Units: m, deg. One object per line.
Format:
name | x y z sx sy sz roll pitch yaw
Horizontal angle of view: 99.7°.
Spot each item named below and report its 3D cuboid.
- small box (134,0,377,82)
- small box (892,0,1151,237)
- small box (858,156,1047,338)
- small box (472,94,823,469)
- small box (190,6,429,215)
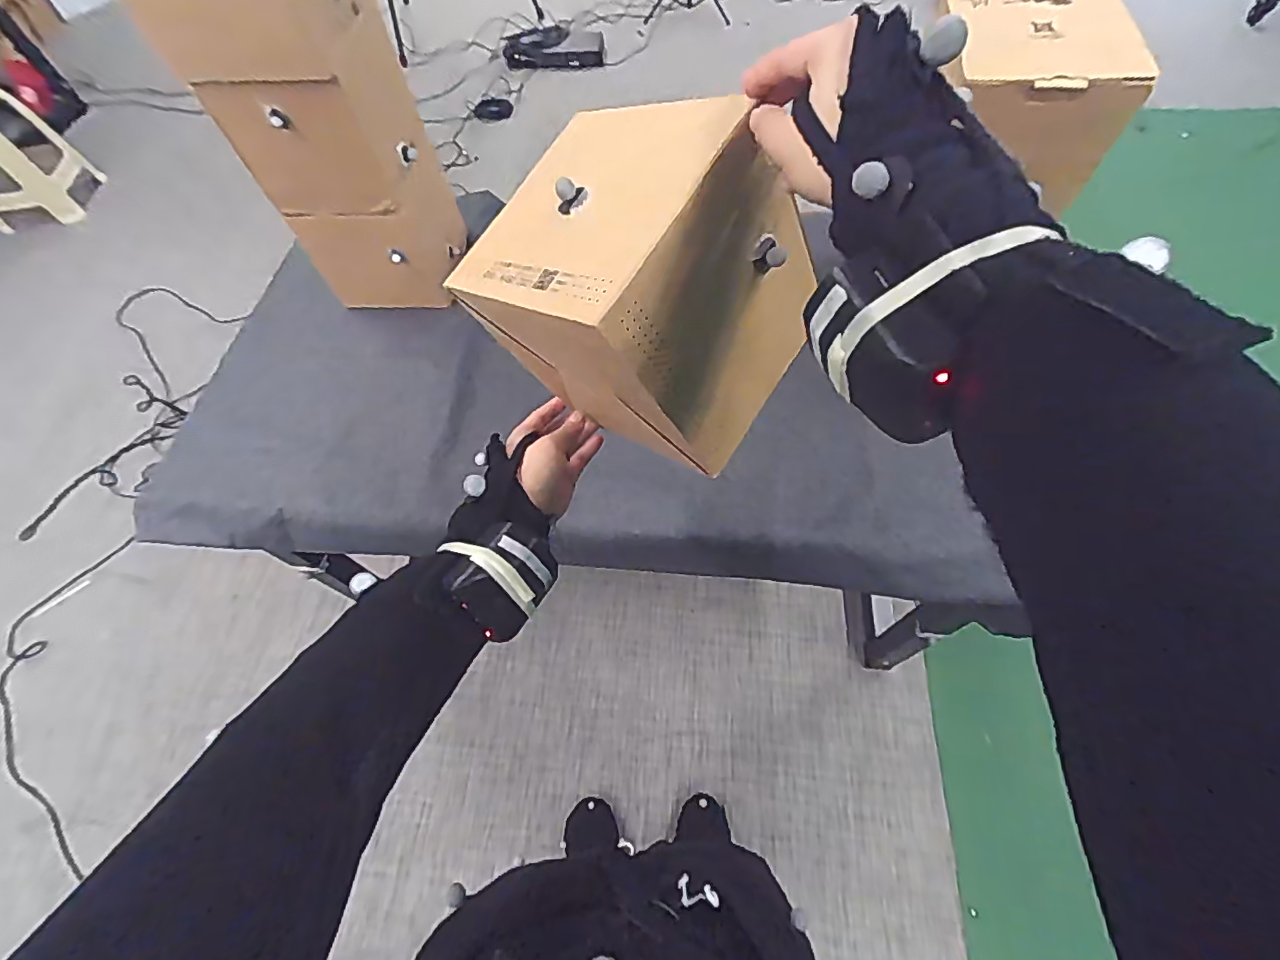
small box | -0.404 -0.531 0.540 0.179 0.176 0.168 2 63 4
small box | 0.395 -0.396 0.599 0.168 0.176 0.179 6 64 7
small box | 0.409 -0.323 0.746 0.168 0.176 0.179 5 63 7
small box | 0.005 -0.134 0.398 0.168 0.179 0.176 28 79 39
small box | -0.399 -0.463 0.690 0.179 0.176 0.168 1 63 2
